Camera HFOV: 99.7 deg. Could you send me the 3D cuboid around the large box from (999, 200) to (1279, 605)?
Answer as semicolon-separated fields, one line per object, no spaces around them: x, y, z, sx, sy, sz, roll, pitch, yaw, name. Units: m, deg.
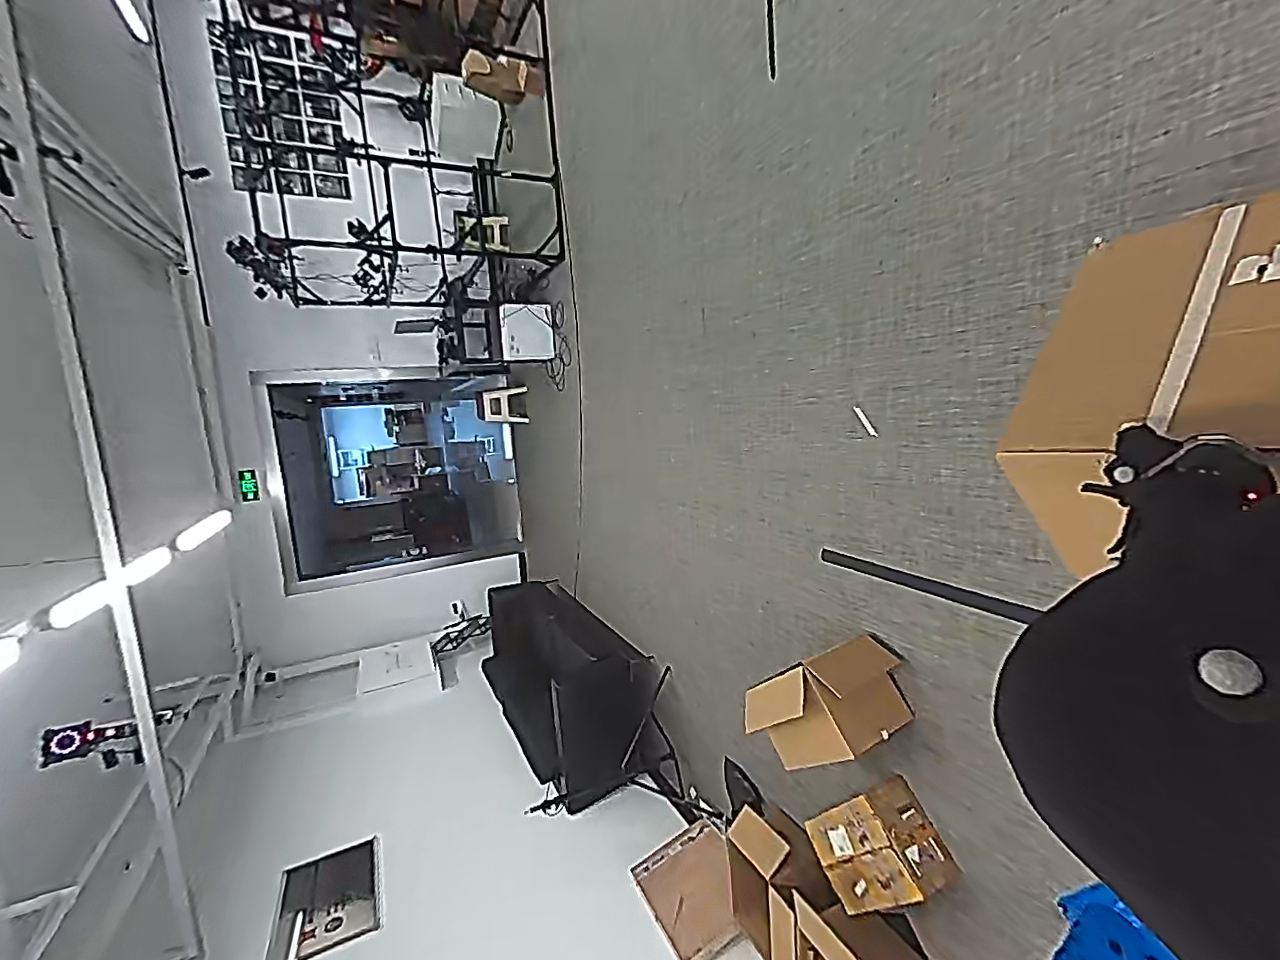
0.760;-0.094;0.704;0.320;0.408;0.320;43;163;-24;large box
